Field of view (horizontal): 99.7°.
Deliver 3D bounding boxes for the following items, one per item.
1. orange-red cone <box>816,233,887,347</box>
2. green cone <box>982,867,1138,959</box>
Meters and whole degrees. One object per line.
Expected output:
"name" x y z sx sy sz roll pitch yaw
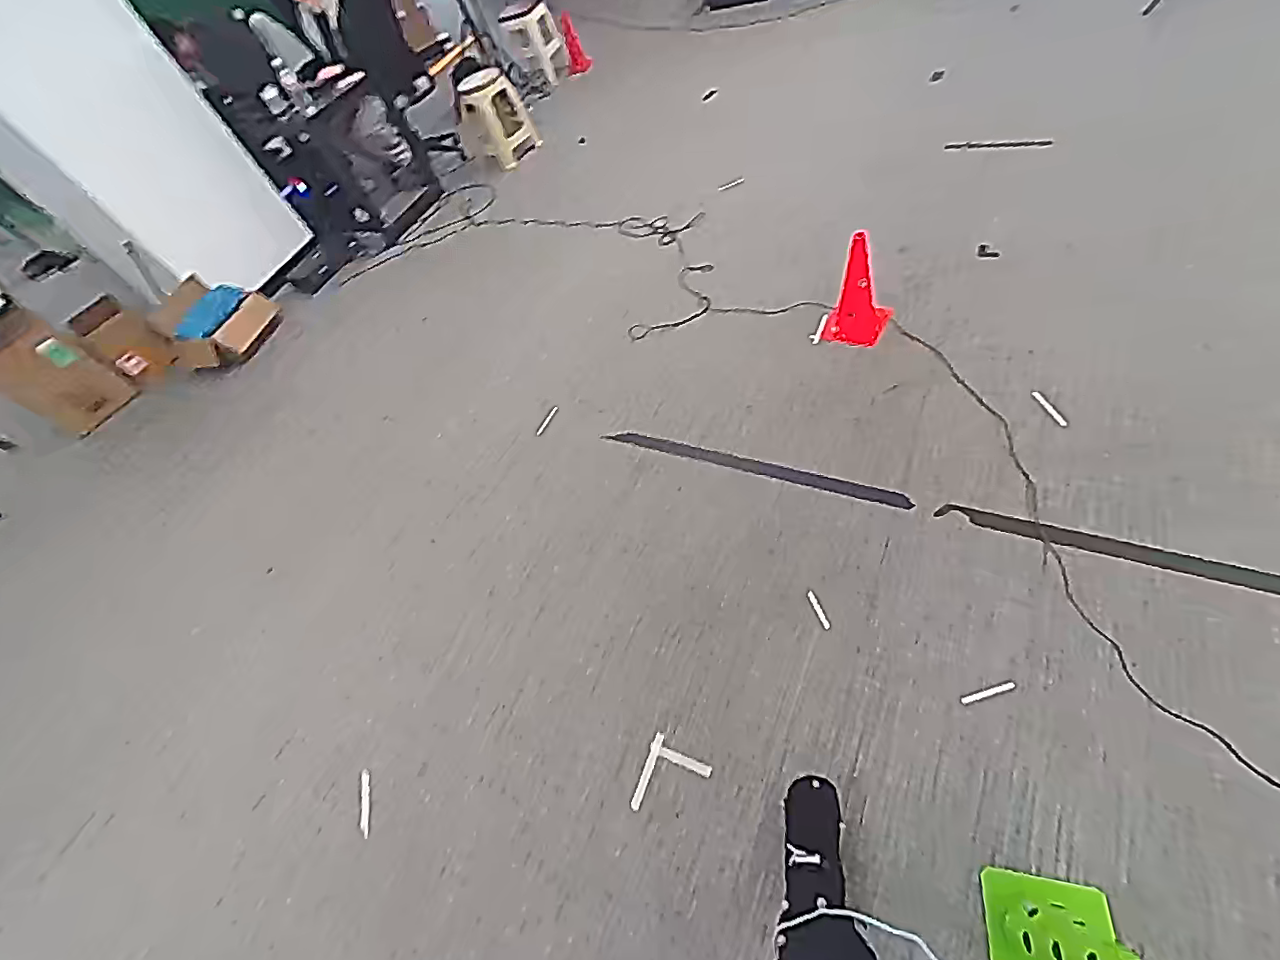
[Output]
"orange-red cone" 0.711 -0.652 1.801 0.199 0.360 0.198 22 66 29
"green cone" 0.682 0.724 0.823 0.202 0.368 0.200 -2 55 20
